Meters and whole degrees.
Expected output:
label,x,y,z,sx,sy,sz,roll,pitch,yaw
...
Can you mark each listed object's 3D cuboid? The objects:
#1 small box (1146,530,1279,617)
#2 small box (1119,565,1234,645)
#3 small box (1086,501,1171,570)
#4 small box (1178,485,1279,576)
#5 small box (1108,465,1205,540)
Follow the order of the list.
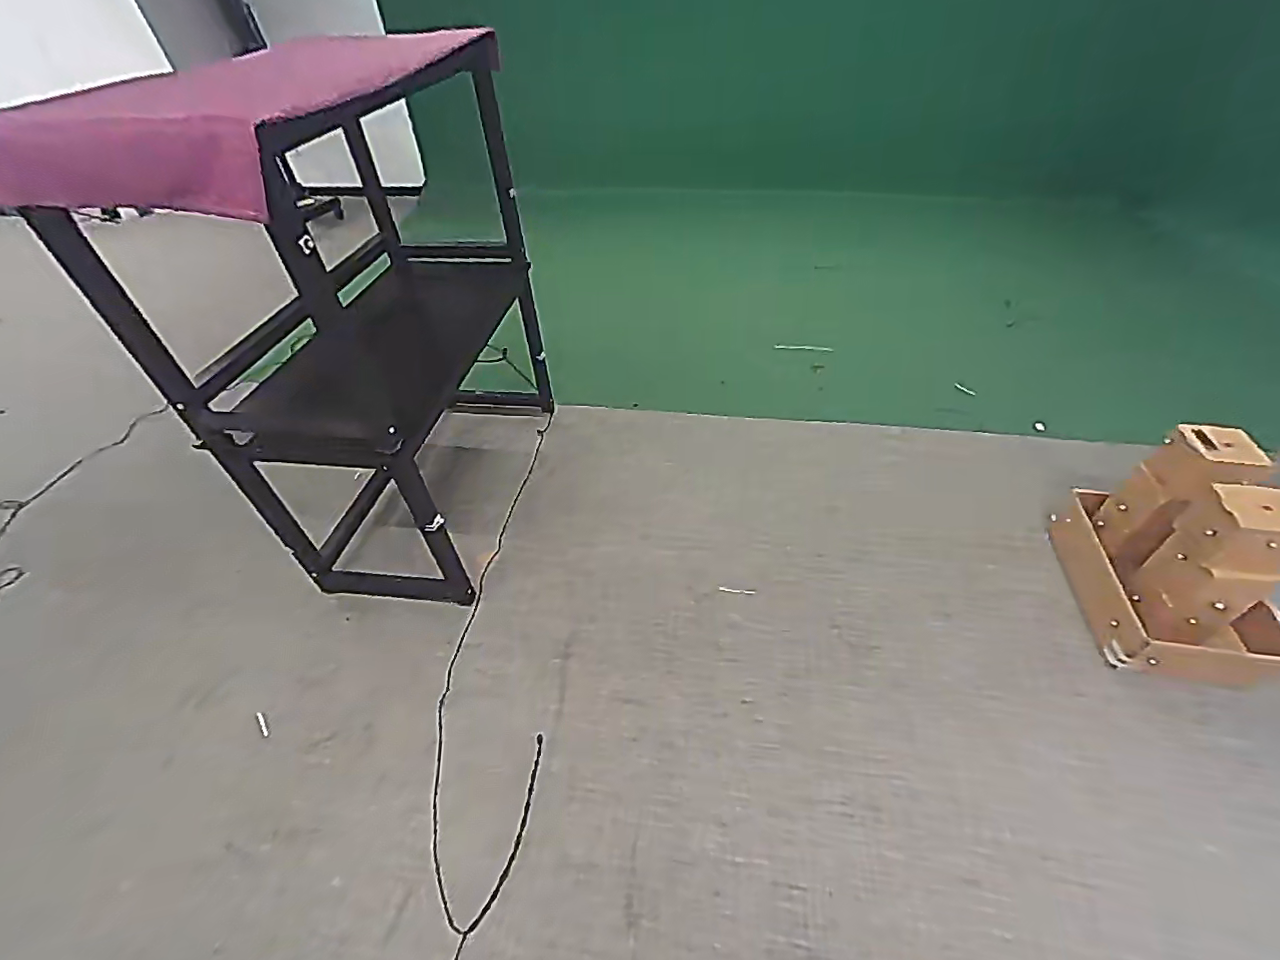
label,x,y,z,sx,sy,sz,roll,pitch,yaw
small box,1.625,0.267,1.551,0.168,0.176,0.179,4,45,8
small box,1.632,0.386,1.665,0.179,0.176,0.168,7,45,10
small box,1.687,0.194,1.860,0.179,0.176,0.168,5,46,9
small box,1.613,0.137,1.452,0.179,0.176,0.168,7,45,11
small box,1.675,0.076,1.743,0.168,0.176,0.179,6,46,8
